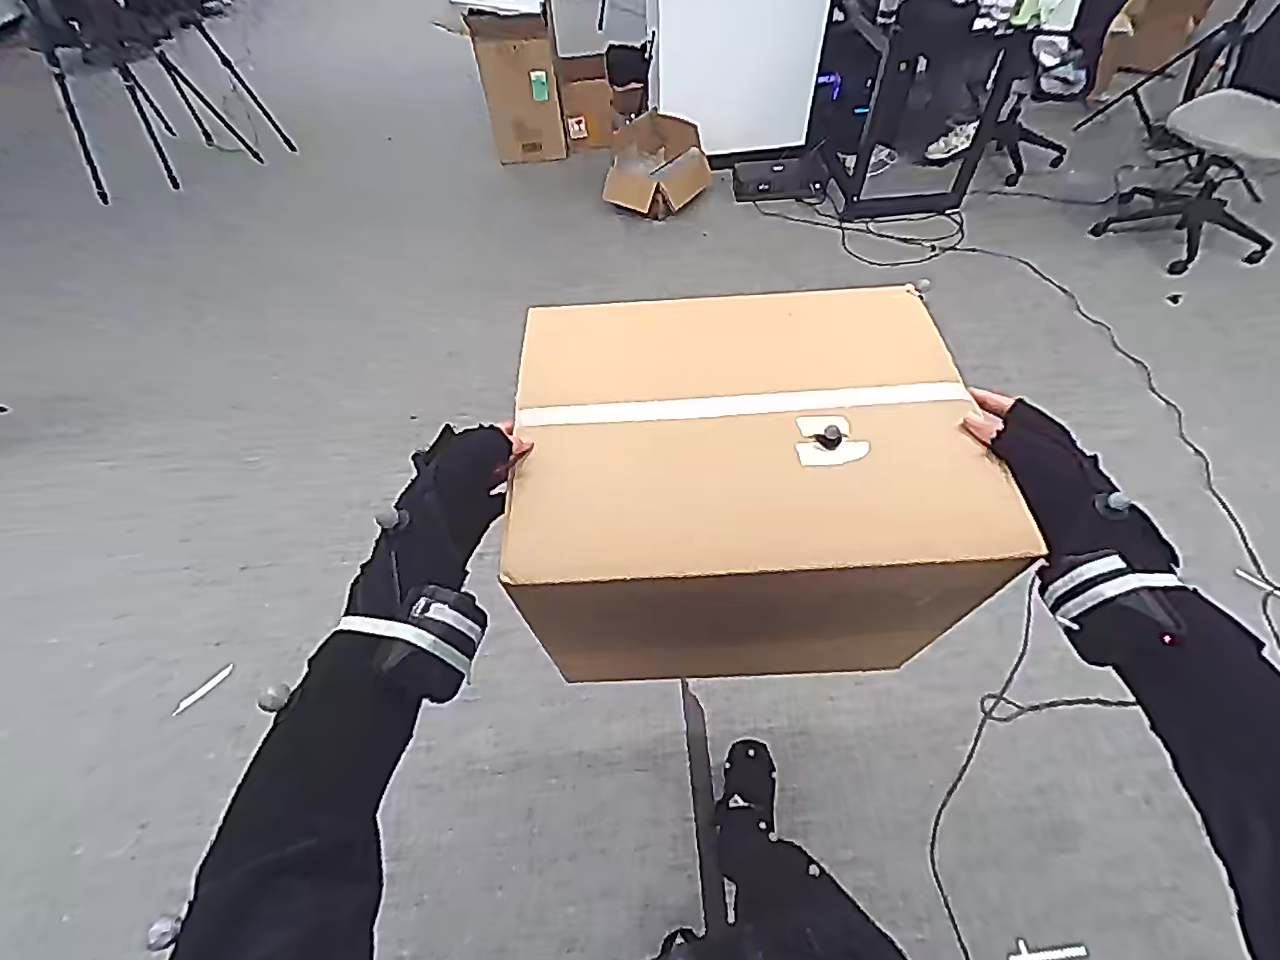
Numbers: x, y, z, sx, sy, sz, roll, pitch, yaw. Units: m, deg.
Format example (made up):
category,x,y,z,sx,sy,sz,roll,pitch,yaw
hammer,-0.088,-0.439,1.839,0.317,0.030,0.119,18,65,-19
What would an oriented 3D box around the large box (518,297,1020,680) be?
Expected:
category,x,y,z,sx,sy,sz,roll,pitch,yaw
large box,0.096,0.024,0.624,0.408,0.320,0.320,-4,57,0
